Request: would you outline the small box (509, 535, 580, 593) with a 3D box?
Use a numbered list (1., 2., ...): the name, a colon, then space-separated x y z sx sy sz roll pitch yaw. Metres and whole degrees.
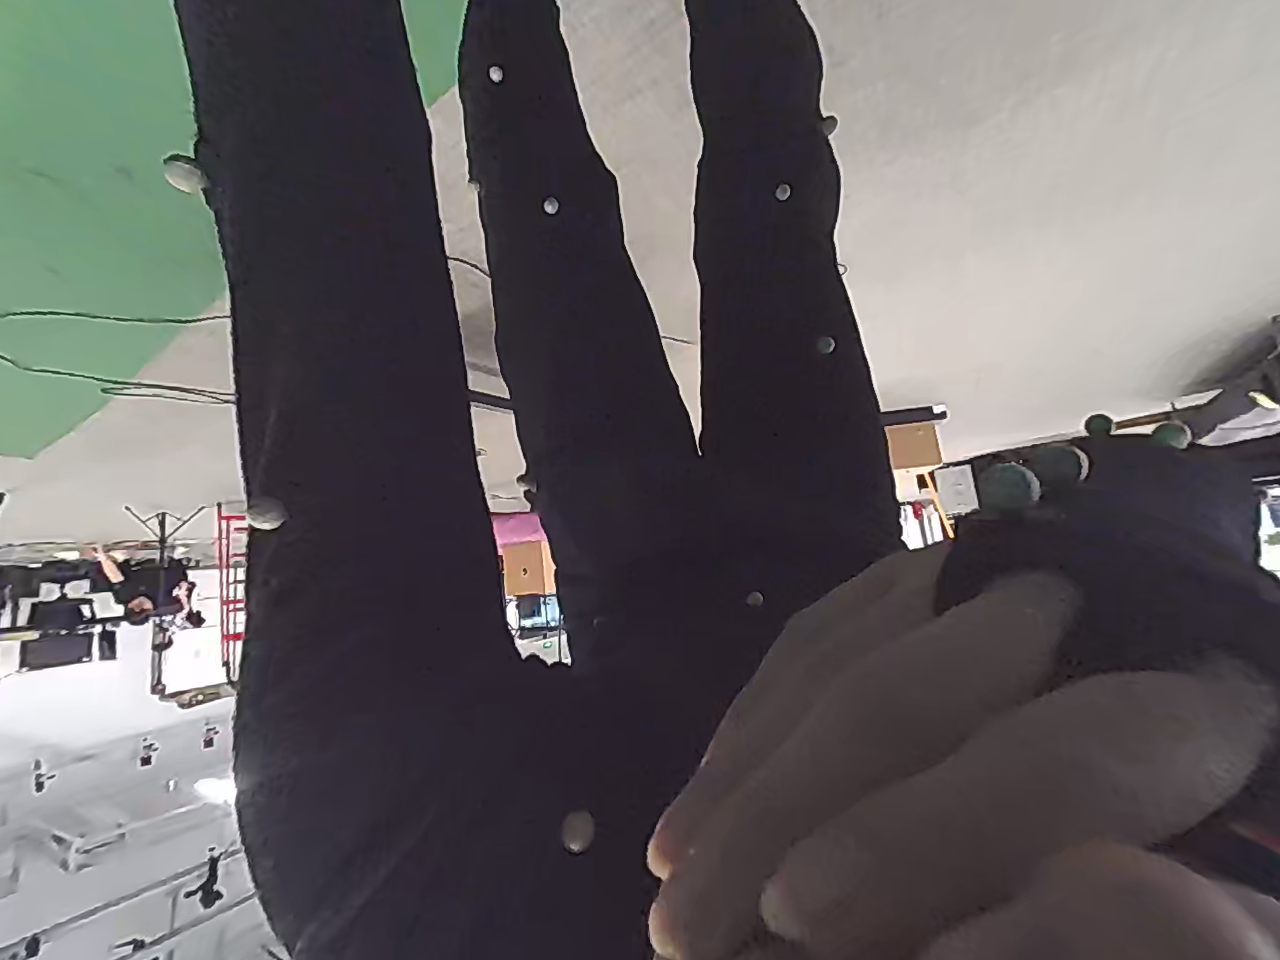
1. small box: -0.320 0.281 1.806 0.179 0.176 0.168 -13 169 31
